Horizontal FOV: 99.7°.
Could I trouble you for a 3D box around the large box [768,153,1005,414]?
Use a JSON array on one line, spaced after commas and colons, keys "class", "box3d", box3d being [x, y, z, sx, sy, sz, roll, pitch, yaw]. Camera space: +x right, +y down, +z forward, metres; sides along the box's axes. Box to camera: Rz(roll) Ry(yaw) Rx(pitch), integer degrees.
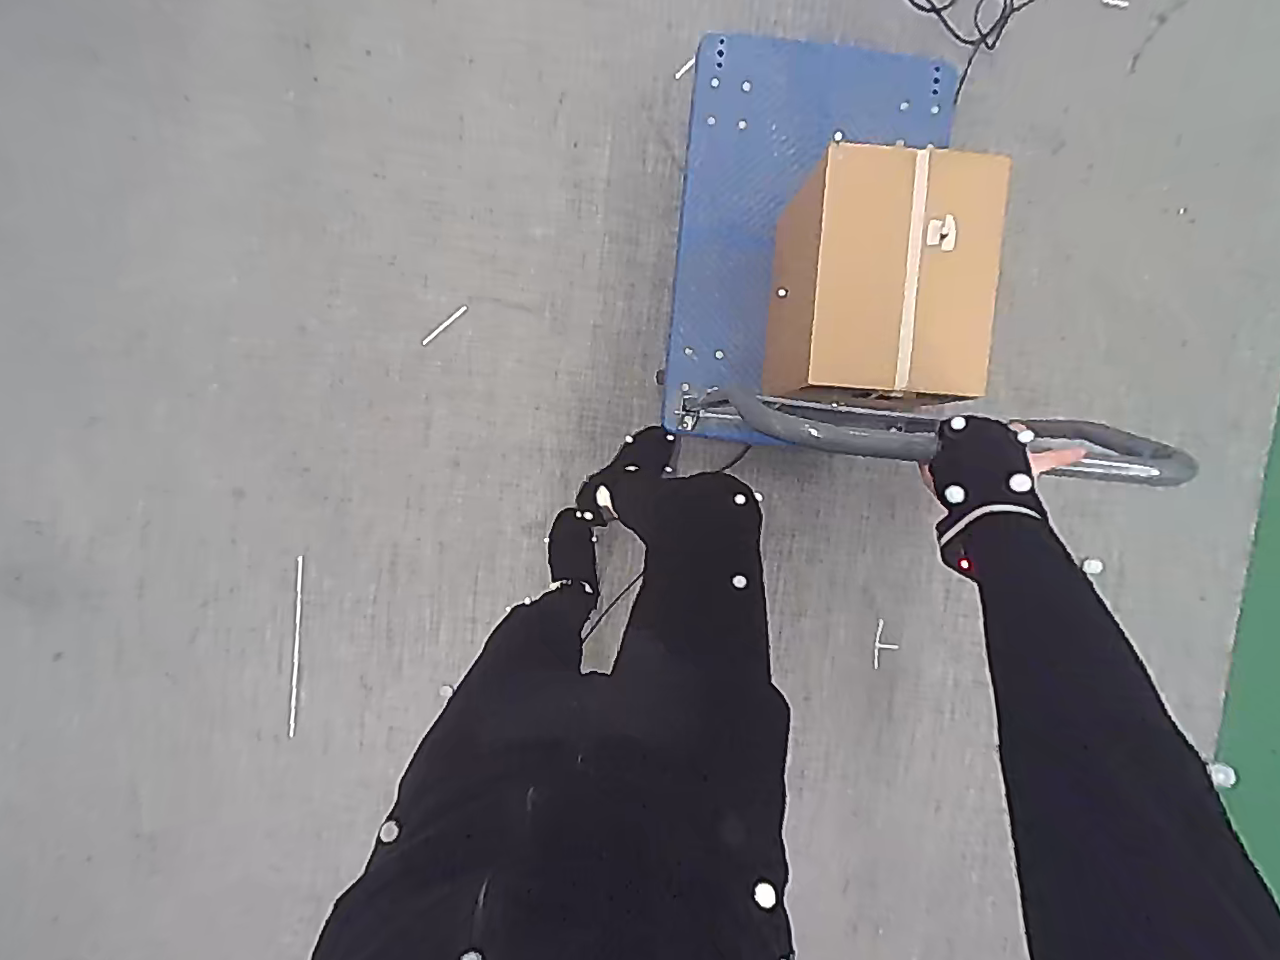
[{"class": "large box", "box3d": [0.452, -0.347, 1.068, 0.320, 0.320, 0.408, 4, 92, -3]}]
